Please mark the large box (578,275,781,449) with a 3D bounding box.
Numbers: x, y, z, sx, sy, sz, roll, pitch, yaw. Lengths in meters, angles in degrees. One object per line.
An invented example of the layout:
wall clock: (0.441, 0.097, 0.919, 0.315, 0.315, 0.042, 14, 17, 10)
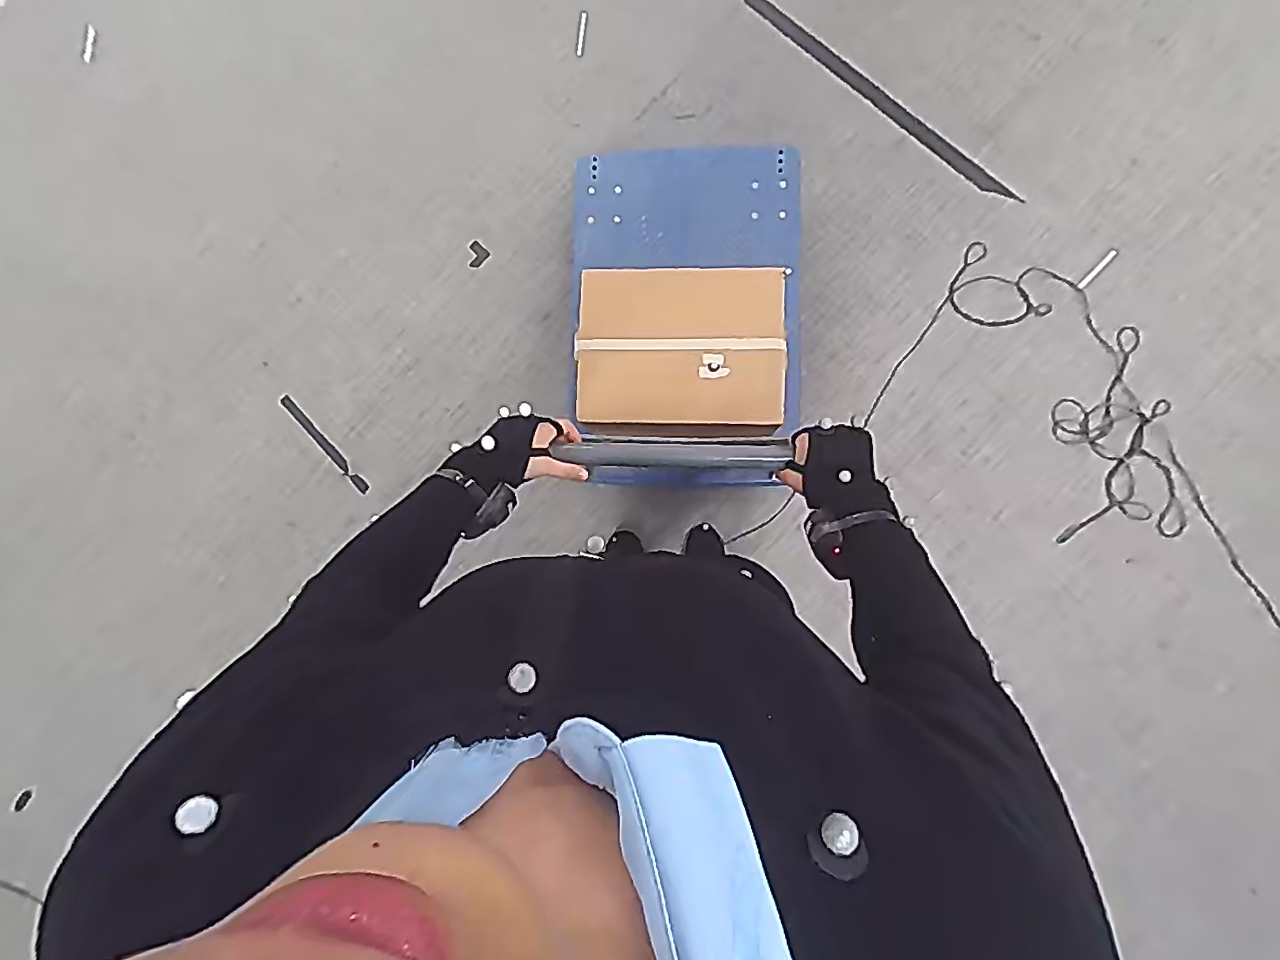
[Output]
large box: (0.084, -0.243, 1.213, 0.408, 0.320, 0.320, 1, 87, 4)
